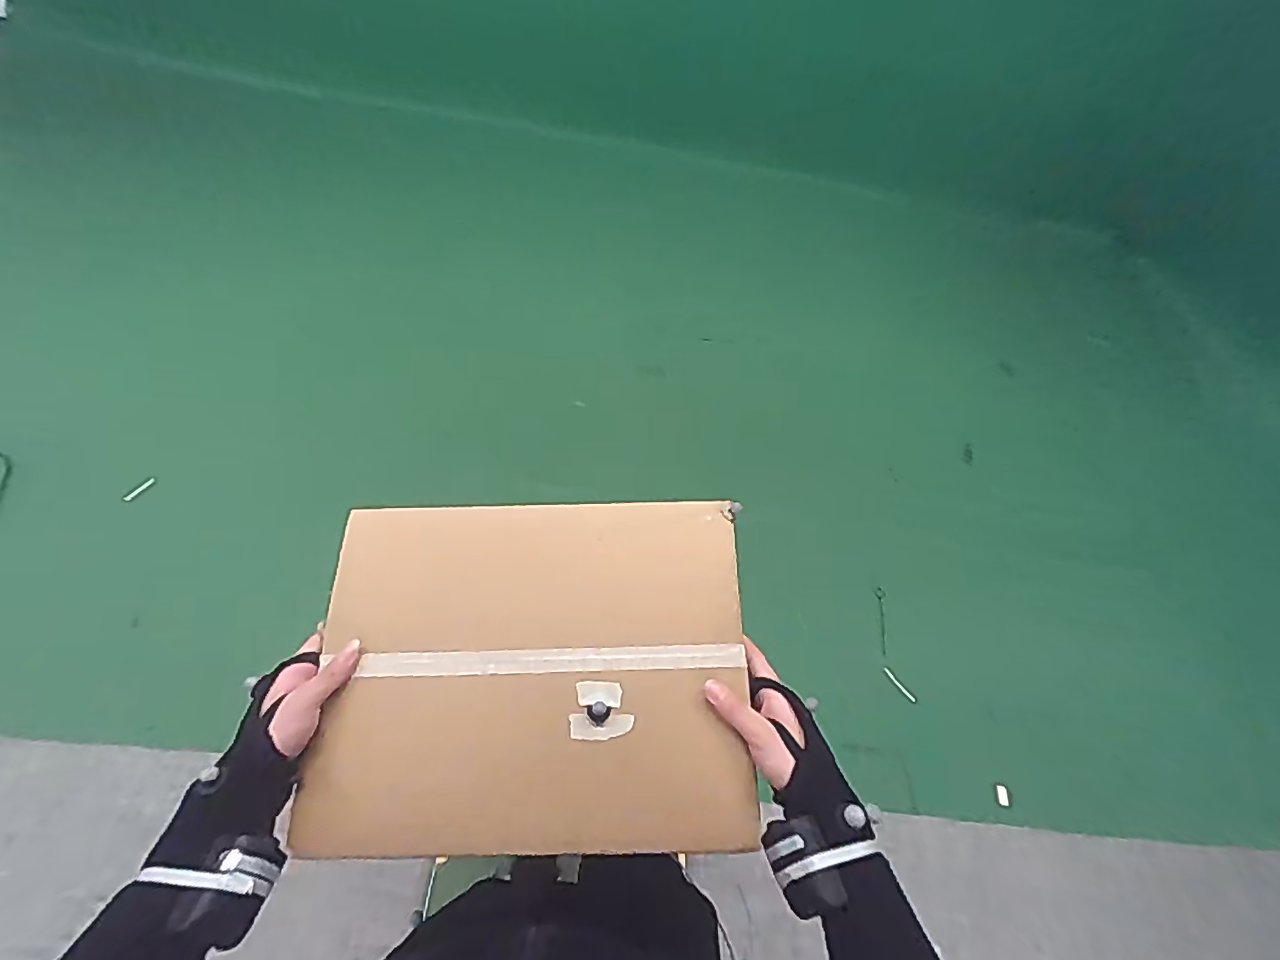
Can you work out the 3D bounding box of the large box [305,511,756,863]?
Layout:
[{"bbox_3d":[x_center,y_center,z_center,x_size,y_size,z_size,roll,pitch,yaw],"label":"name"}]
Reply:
[{"bbox_3d":[-0.101,0.240,0.664,0.408,0.320,0.320,-2,68,0],"label":"large box"}]
